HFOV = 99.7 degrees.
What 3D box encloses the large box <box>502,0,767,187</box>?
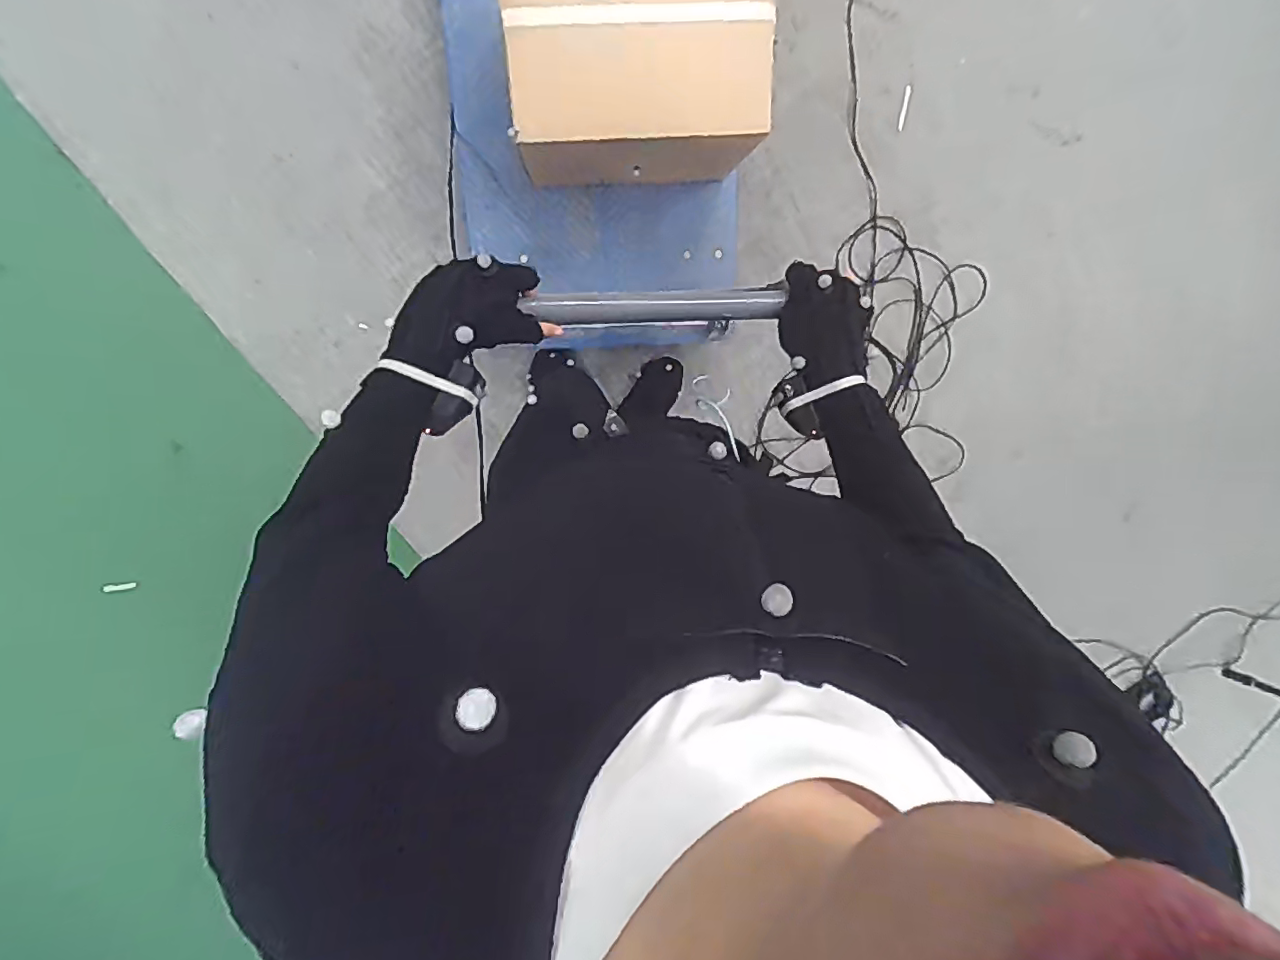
[{"bbox_3d":[-0.012,-0.728,0.956,0.408,0.320,0.320,-4,106,-3],"label":"large box"}]
